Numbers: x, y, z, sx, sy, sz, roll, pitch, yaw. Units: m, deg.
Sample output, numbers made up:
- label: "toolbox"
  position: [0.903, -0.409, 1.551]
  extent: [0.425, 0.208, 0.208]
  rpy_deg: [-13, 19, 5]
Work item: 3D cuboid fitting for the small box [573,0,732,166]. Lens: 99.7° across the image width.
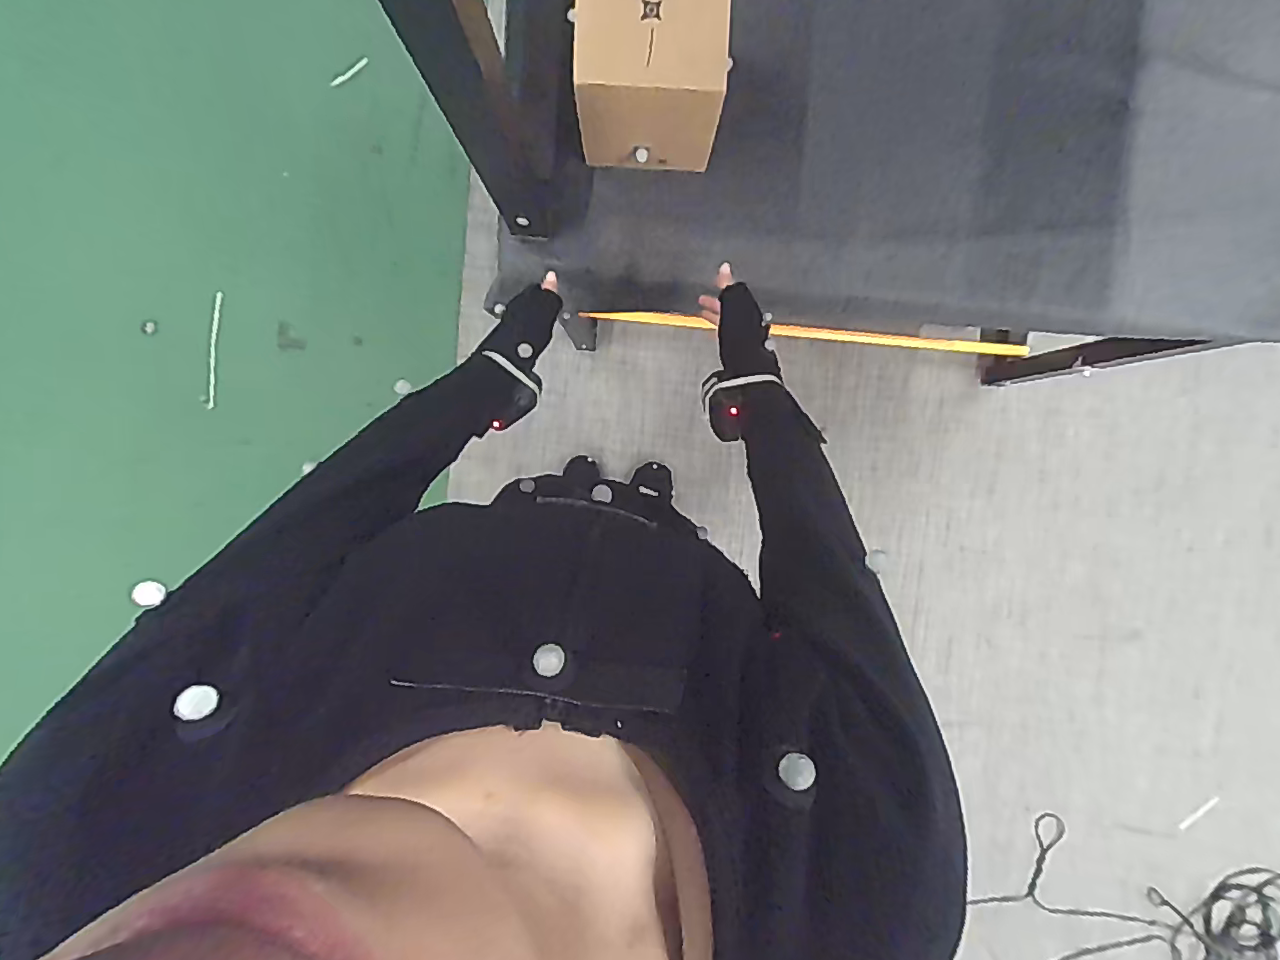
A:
- label: "small box"
  position: [0.013, -0.509, 0.641]
  extent: [0.168, 0.176, 0.179]
  rpy_deg: [2, 93, 0]
